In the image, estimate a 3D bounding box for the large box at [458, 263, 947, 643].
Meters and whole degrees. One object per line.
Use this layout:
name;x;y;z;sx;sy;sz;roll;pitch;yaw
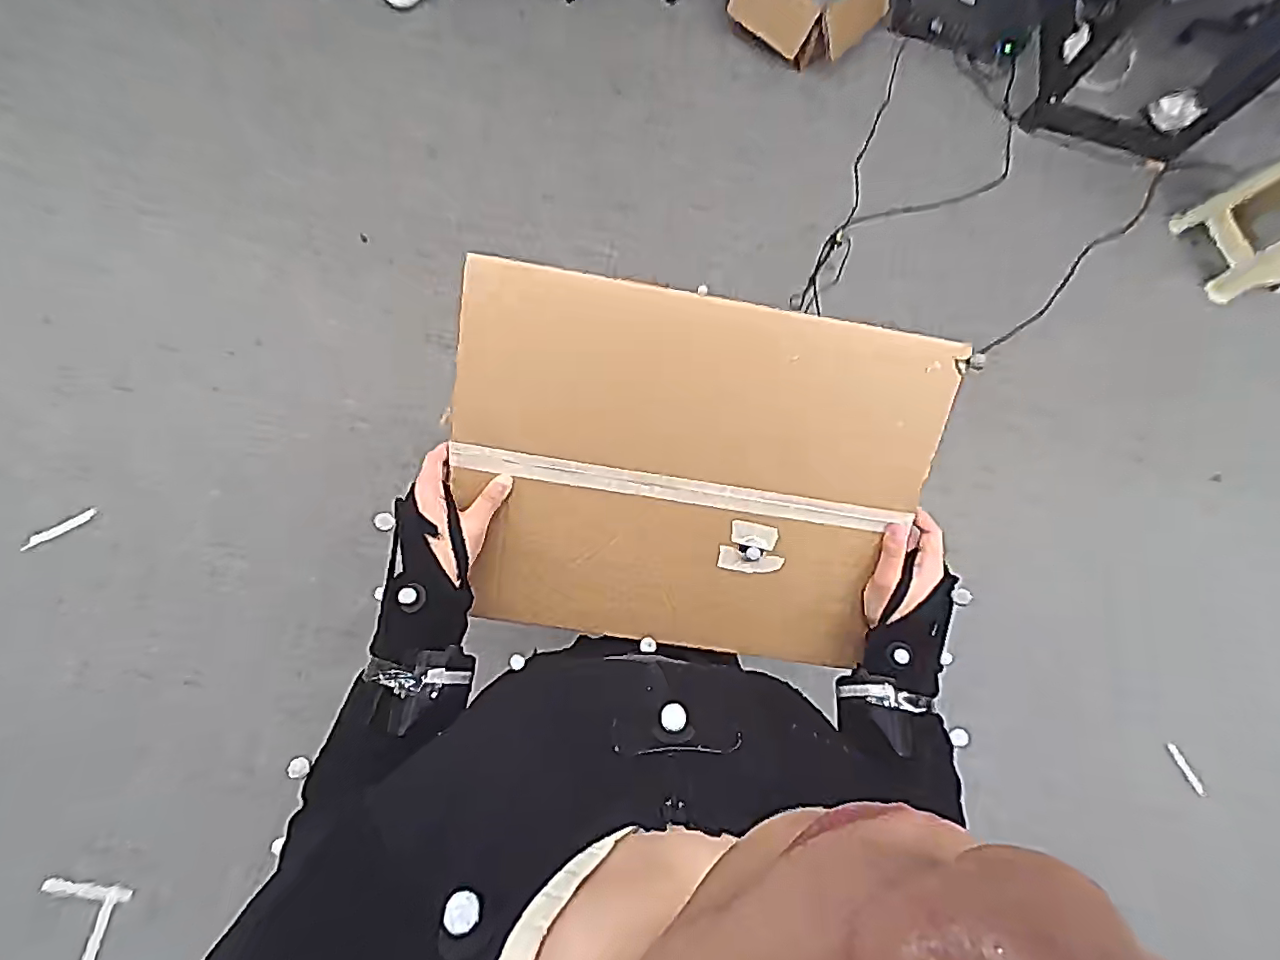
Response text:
large box;0.036;-0.048;0.624;0.408;0.320;0.320;8;108;-5
